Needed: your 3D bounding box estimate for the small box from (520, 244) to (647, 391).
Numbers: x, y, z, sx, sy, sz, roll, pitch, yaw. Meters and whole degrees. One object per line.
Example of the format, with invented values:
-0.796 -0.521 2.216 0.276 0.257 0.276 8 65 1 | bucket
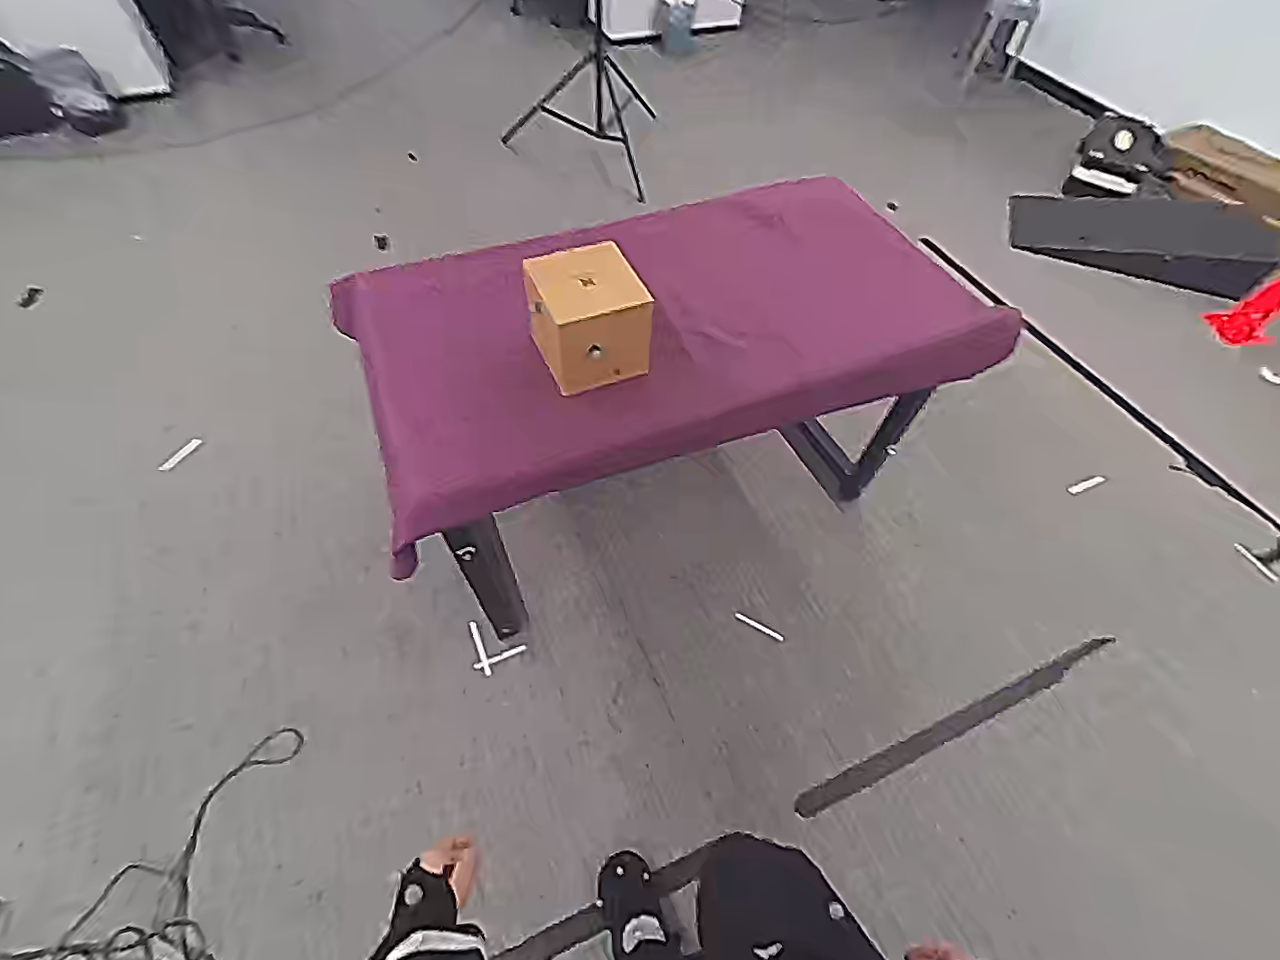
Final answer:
-0.098 -0.278 0.955 0.168 0.176 0.179 -20 59 -15 | small box
